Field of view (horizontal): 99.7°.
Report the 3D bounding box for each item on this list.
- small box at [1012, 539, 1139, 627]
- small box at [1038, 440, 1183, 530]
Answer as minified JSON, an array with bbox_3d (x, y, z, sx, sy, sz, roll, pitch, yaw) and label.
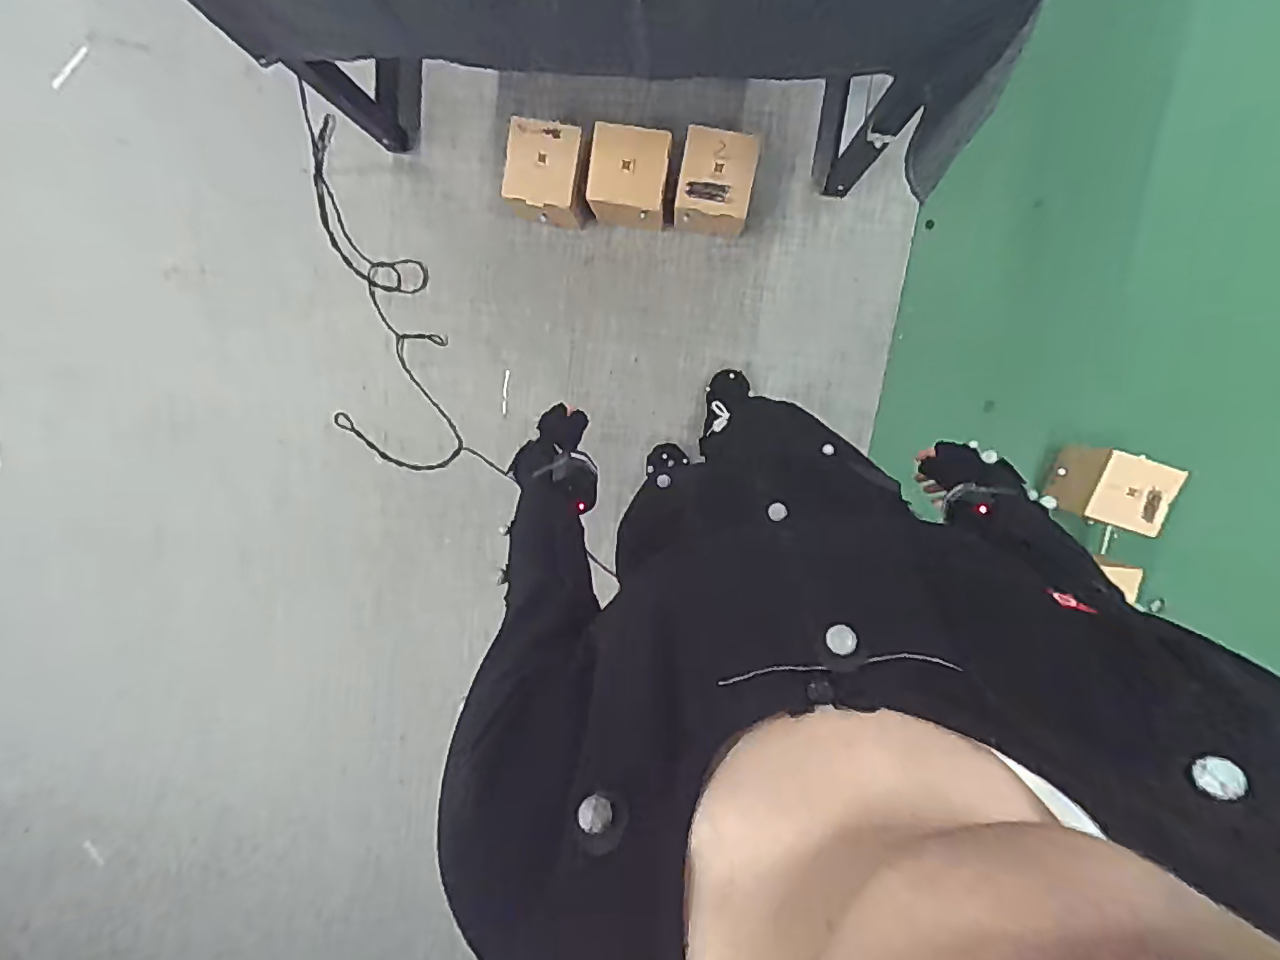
[{"bbox_3d":[1.094,0.254,1.376,0.179,0.176,0.168,6,101,2],"label":"small box"},{"bbox_3d":[1.144,0.004,1.331,0.179,0.176,0.168,18,100,1],"label":"small box"}]
